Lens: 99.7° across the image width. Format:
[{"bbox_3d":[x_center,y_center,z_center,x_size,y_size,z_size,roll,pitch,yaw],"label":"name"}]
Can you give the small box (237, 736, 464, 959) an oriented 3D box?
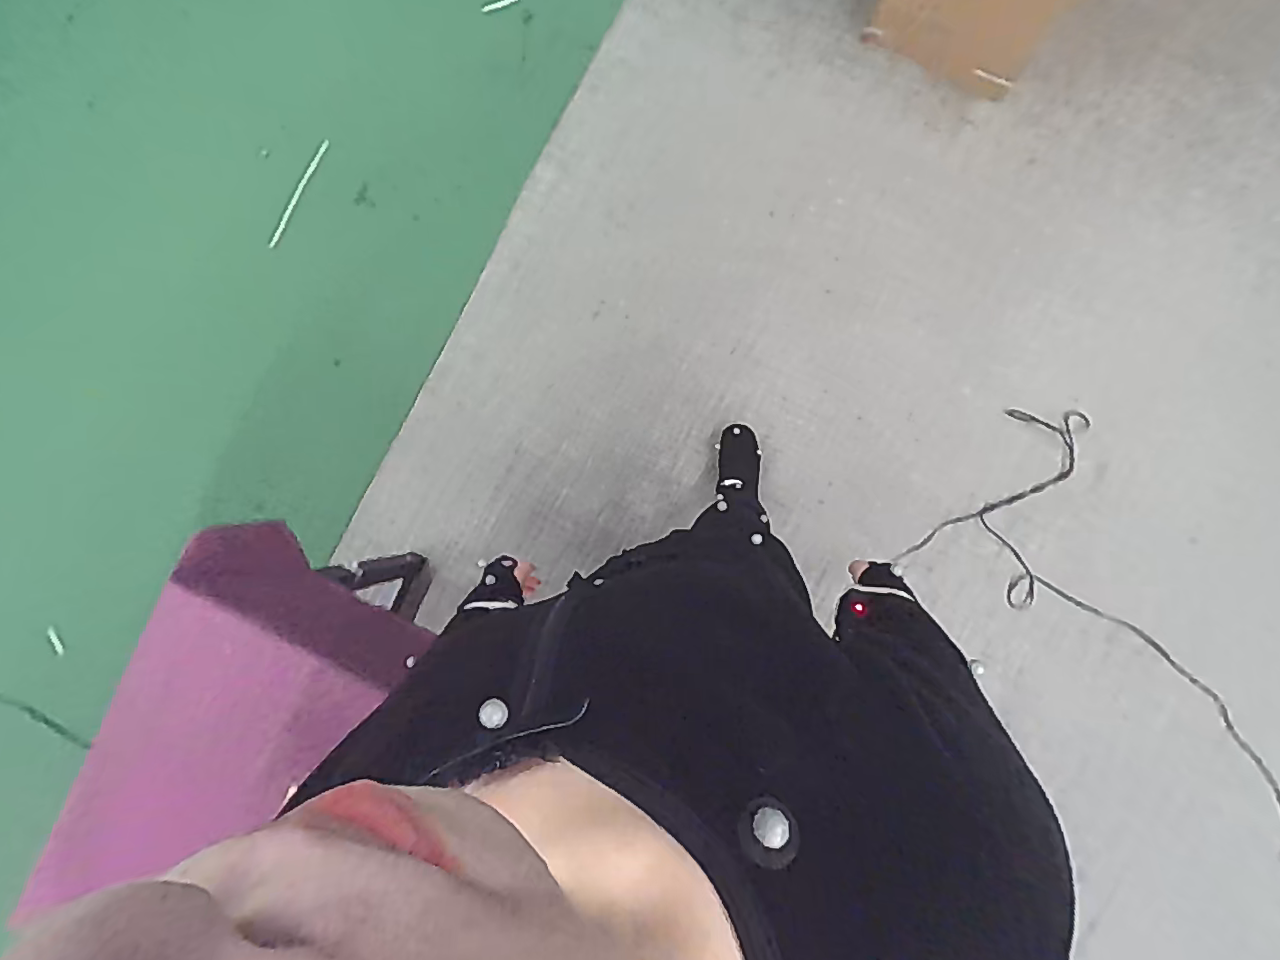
[{"bbox_3d":[-0.365,0.475,0.717,0.179,0.176,0.168,24,90,6],"label":"small box"}]
